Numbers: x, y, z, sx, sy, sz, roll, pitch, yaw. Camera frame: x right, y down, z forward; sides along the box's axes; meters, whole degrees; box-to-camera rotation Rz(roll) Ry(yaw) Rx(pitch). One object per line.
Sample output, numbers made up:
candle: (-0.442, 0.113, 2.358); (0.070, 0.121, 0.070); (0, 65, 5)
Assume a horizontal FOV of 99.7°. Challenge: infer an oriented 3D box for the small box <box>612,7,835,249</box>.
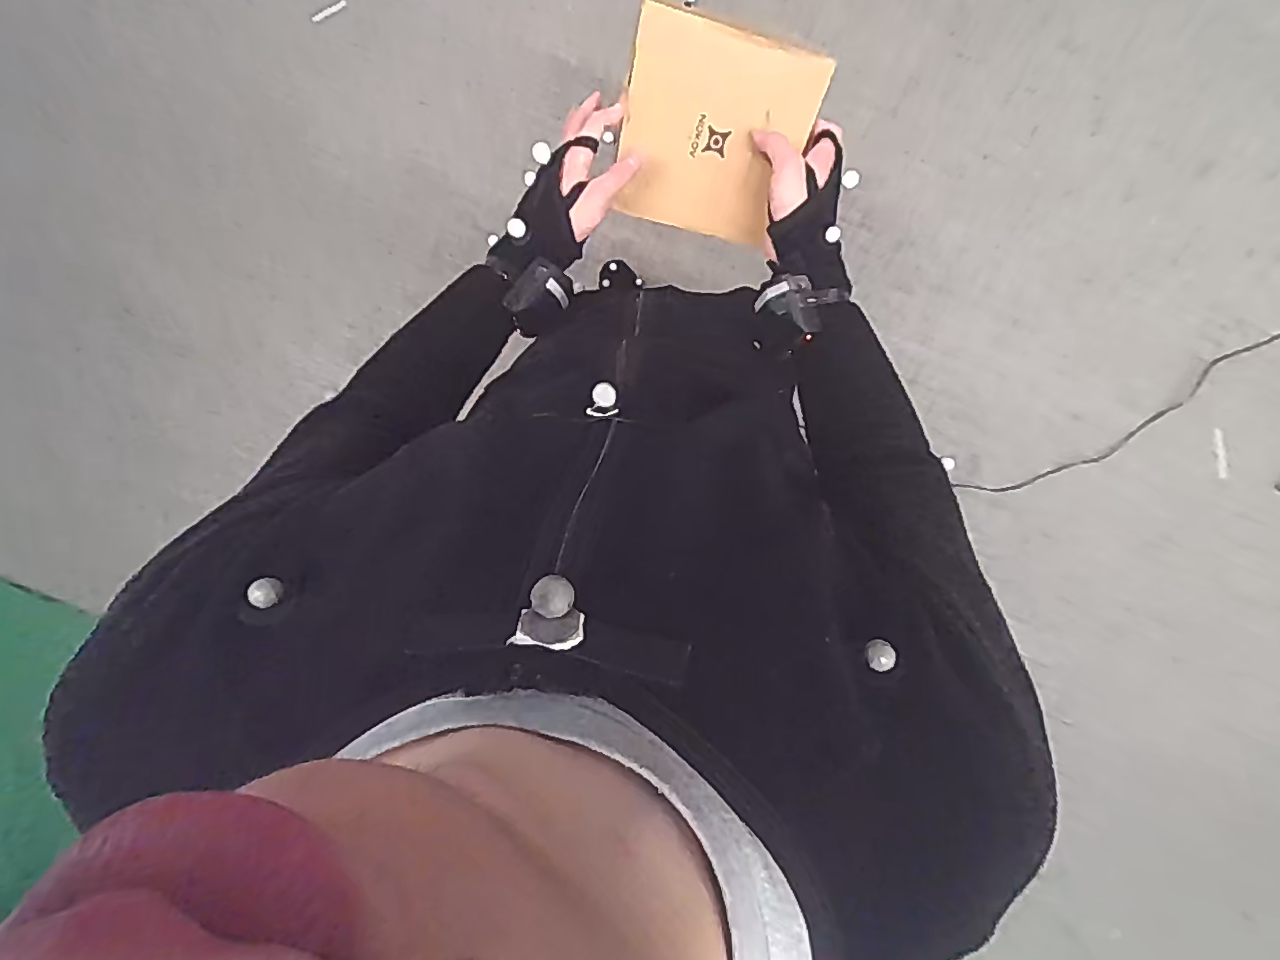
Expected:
small box: (0.071, -0.373, 0.573); (0.179, 0.176, 0.168); (8, 135, -9)
